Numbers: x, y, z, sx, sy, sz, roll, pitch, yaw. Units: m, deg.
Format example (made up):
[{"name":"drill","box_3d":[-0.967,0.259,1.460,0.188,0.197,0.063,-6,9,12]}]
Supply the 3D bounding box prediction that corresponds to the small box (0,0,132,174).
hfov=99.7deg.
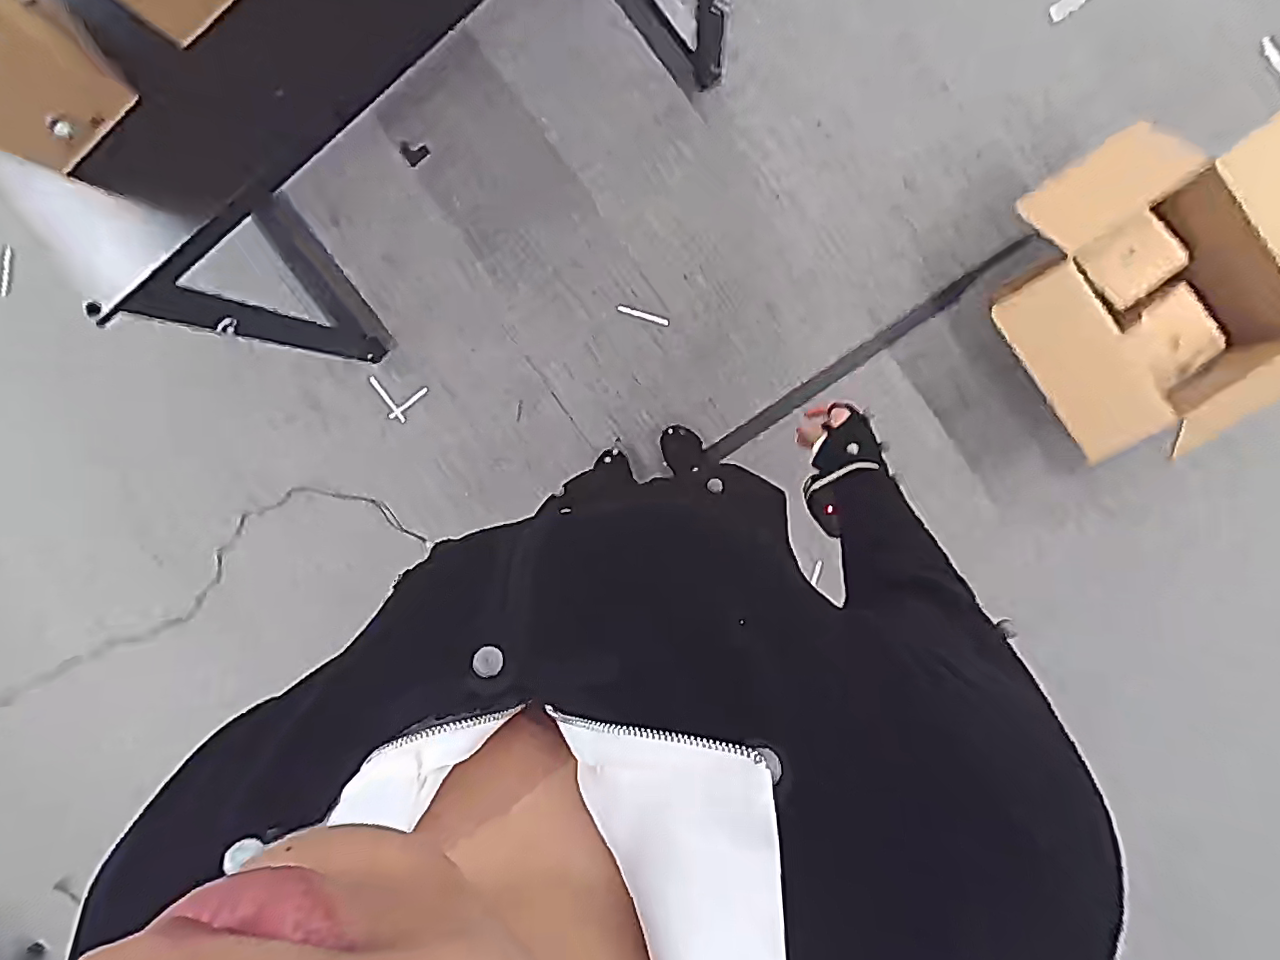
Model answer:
[{"name":"small box","box_3d":[-0.827,-0.537,0.685,0.168,0.176,0.179,-38,93,7]}]

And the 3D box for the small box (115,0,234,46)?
[{"name":"small box","box_3d":[-0.615,-0.697,0.653,0.179,0.176,0.168,-36,92,7]}]
